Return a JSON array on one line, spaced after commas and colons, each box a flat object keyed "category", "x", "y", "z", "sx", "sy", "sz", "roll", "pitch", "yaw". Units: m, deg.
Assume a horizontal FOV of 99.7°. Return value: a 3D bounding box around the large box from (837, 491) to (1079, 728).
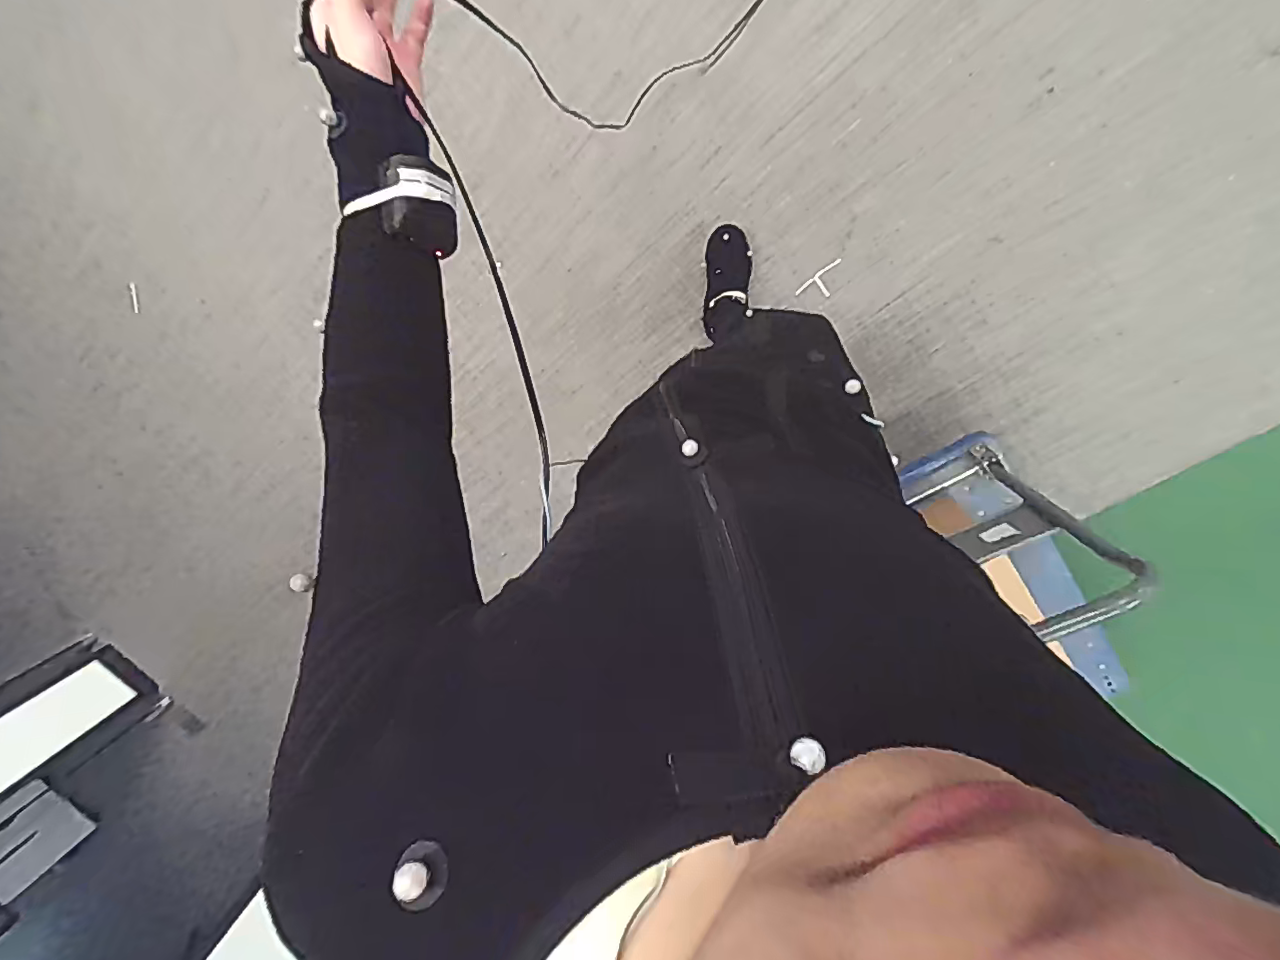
[{"category": "large box", "x": 0.746, "y": 0.305, "z": 1.328, "sx": 0.320, "sy": 0.320, "sz": 0.408, "roll": -32, "pitch": 103, "yaw": 20}]
